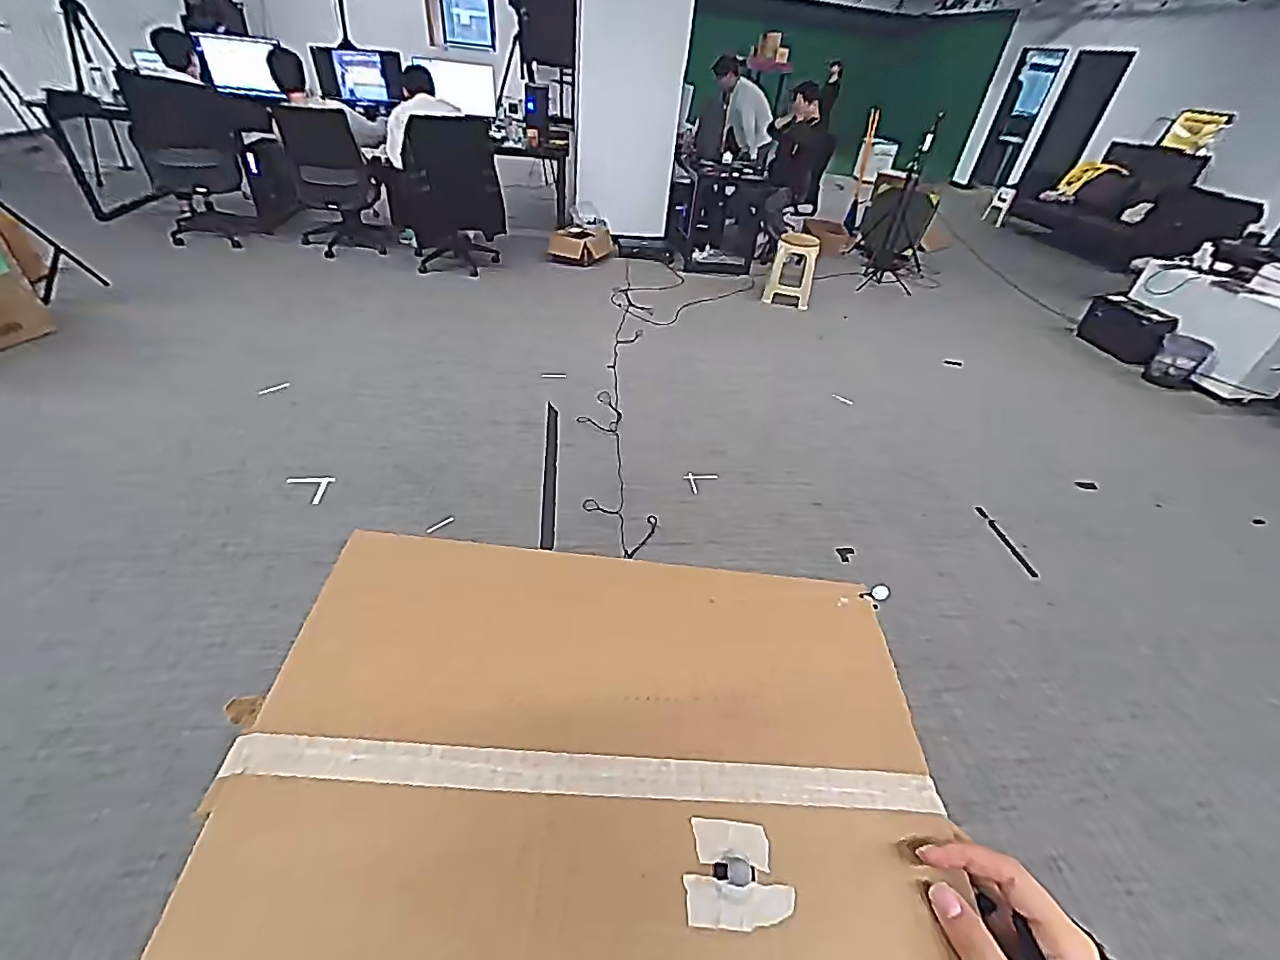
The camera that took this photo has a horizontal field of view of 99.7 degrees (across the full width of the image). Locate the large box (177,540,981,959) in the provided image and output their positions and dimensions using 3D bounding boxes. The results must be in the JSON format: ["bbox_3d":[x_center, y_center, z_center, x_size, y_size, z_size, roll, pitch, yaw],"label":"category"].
[{"bbox_3d":[-0.038,0.279,0.428,0.408,0.320,0.320,8,46,-7],"label":"large box"}]
